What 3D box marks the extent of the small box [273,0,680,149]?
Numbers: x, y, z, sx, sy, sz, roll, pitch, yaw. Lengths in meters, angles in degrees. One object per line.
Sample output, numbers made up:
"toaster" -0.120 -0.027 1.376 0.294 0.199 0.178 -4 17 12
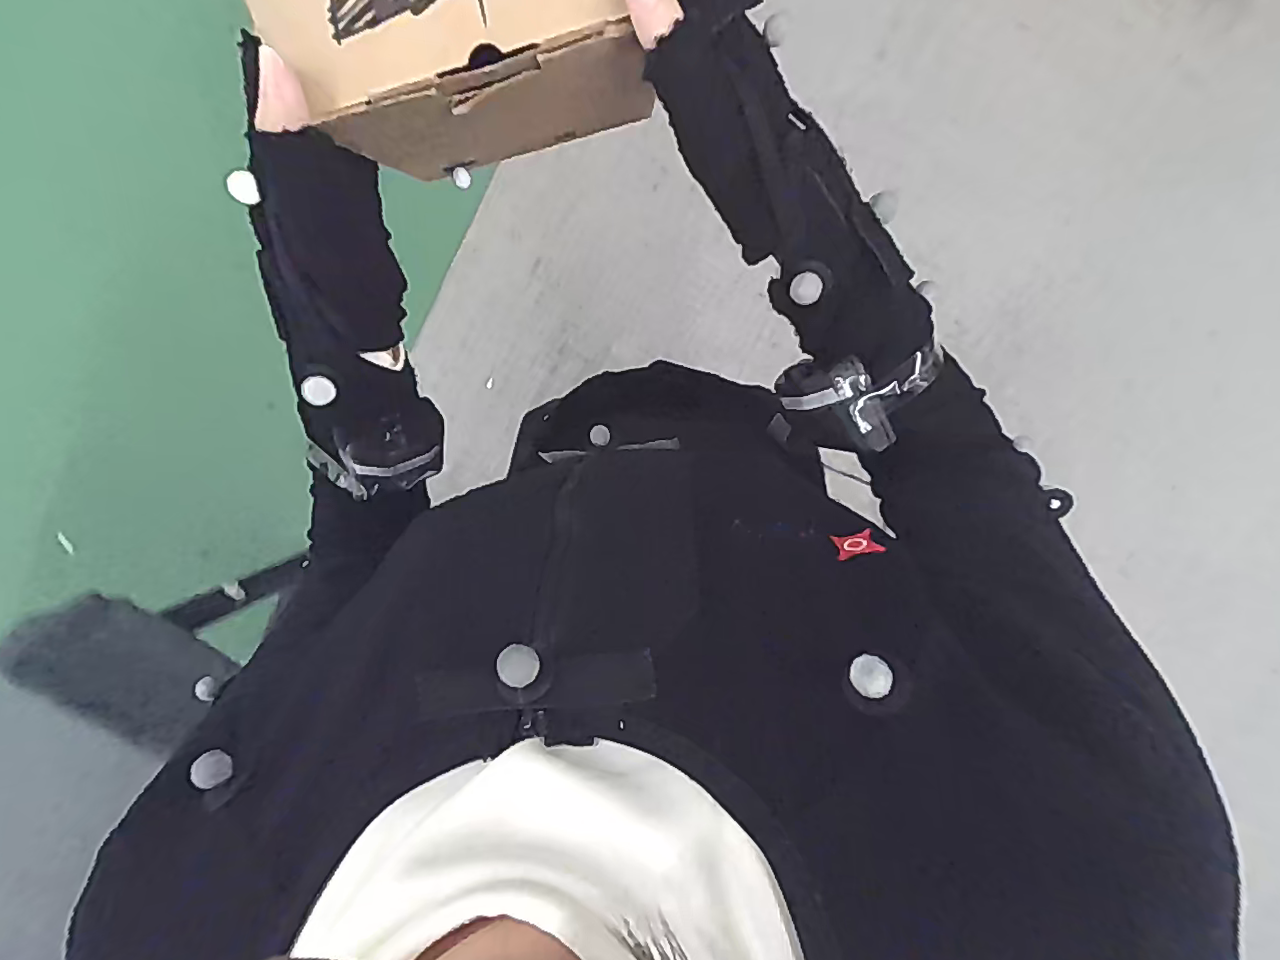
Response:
"small box" -0.081 -0.285 0.266 0.168 0.176 0.179 -13 111 3
